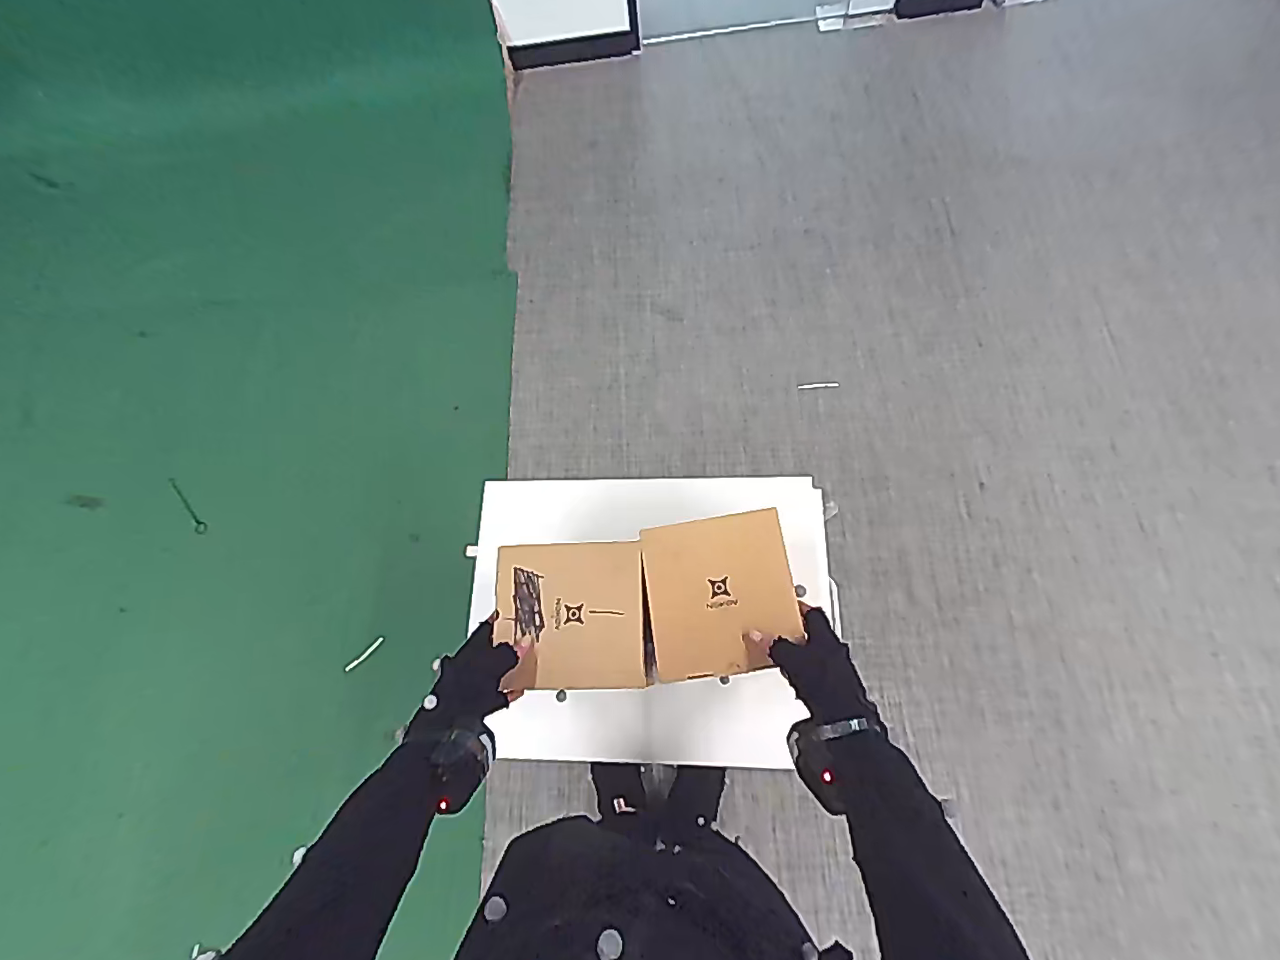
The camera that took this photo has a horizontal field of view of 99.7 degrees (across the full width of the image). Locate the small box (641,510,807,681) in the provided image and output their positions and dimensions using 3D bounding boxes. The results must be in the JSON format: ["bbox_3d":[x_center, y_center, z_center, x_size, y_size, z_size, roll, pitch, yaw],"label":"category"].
[{"bbox_3d":[0.100,0.153,0.682,0.168,0.176,0.179,-10,70,7],"label":"small box"}]
